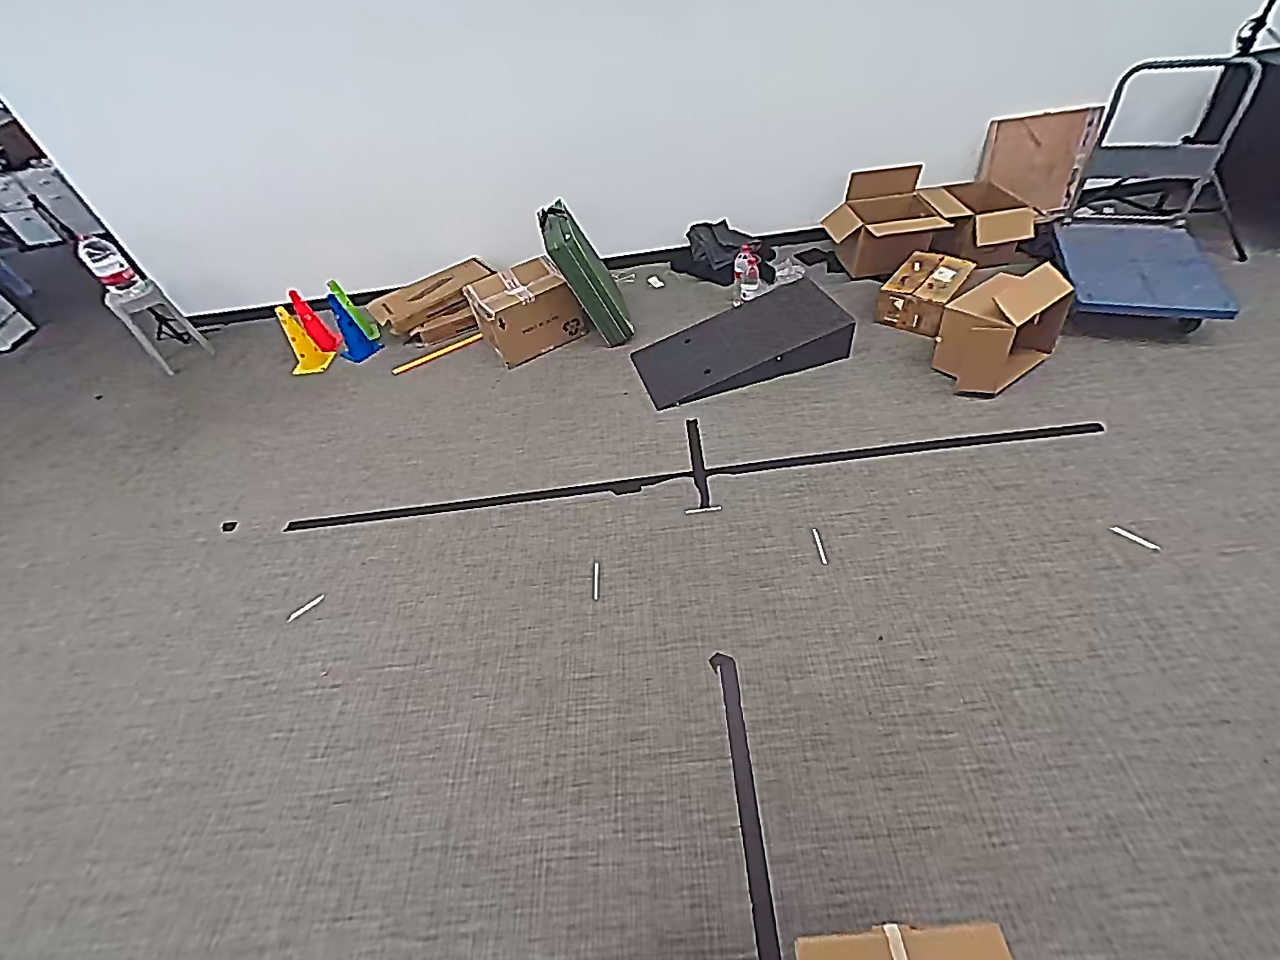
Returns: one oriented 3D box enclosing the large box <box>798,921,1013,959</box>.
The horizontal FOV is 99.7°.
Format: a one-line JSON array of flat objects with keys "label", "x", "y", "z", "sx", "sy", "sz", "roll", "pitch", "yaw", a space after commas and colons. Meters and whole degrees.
[{"label": "large box", "x": 0.444, "y": 0.947, "z": 0.821, "sx": 0.320, "sy": 0.320, "sz": 0.408, "roll": -12, "pitch": 48, "yaw": 8}]
